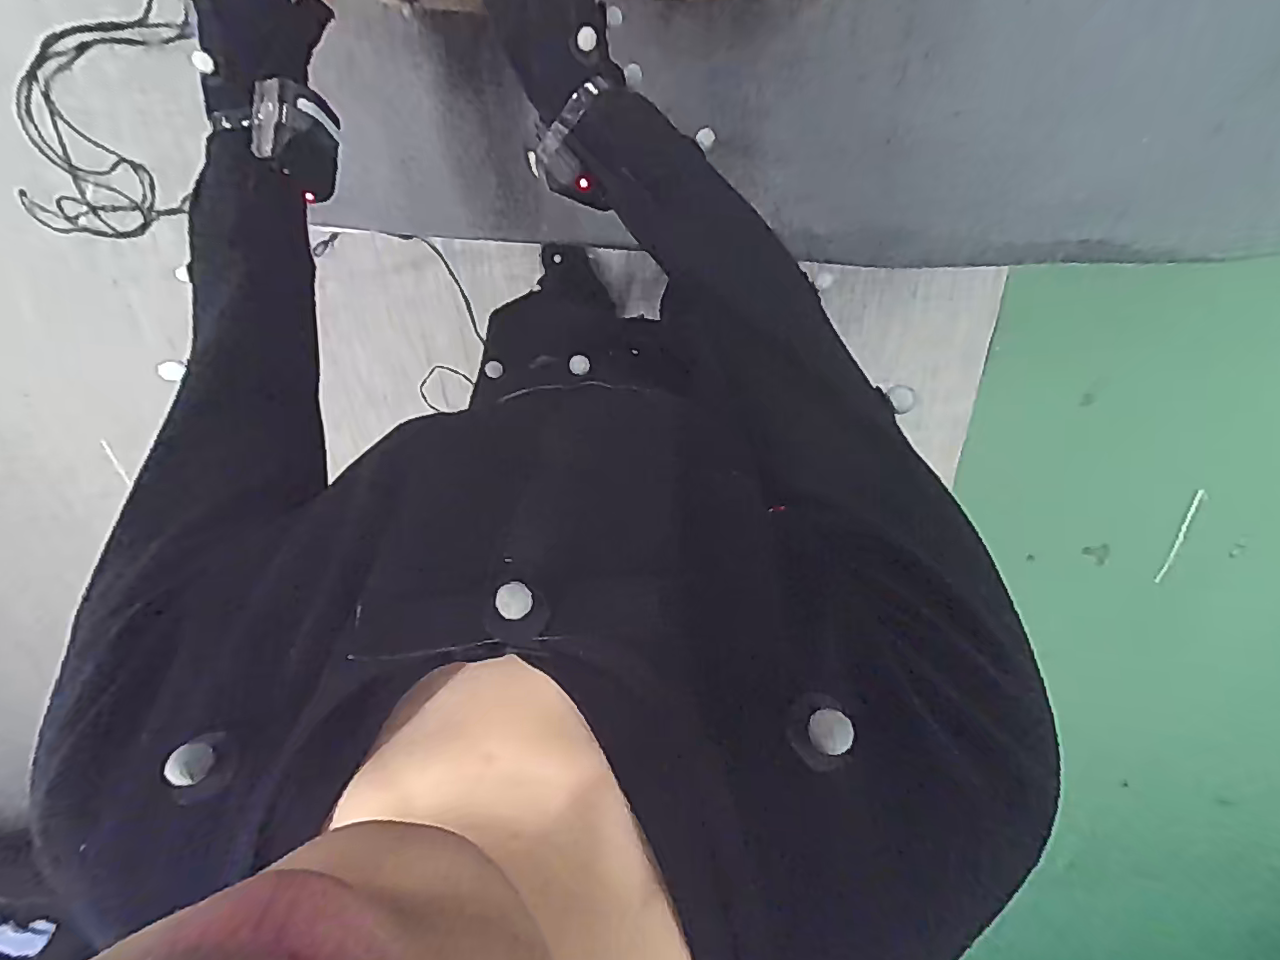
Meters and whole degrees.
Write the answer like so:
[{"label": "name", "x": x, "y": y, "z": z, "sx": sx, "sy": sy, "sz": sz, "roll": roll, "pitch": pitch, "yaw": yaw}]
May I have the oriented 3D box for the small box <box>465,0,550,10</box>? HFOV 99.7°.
[{"label": "small box", "x": -0.162, "y": -0.496, "z": 0.414, "sx": 0.168, "sy": 0.176, "sz": 0.179, "roll": 6, "pitch": 117, "yaw": 1}]
